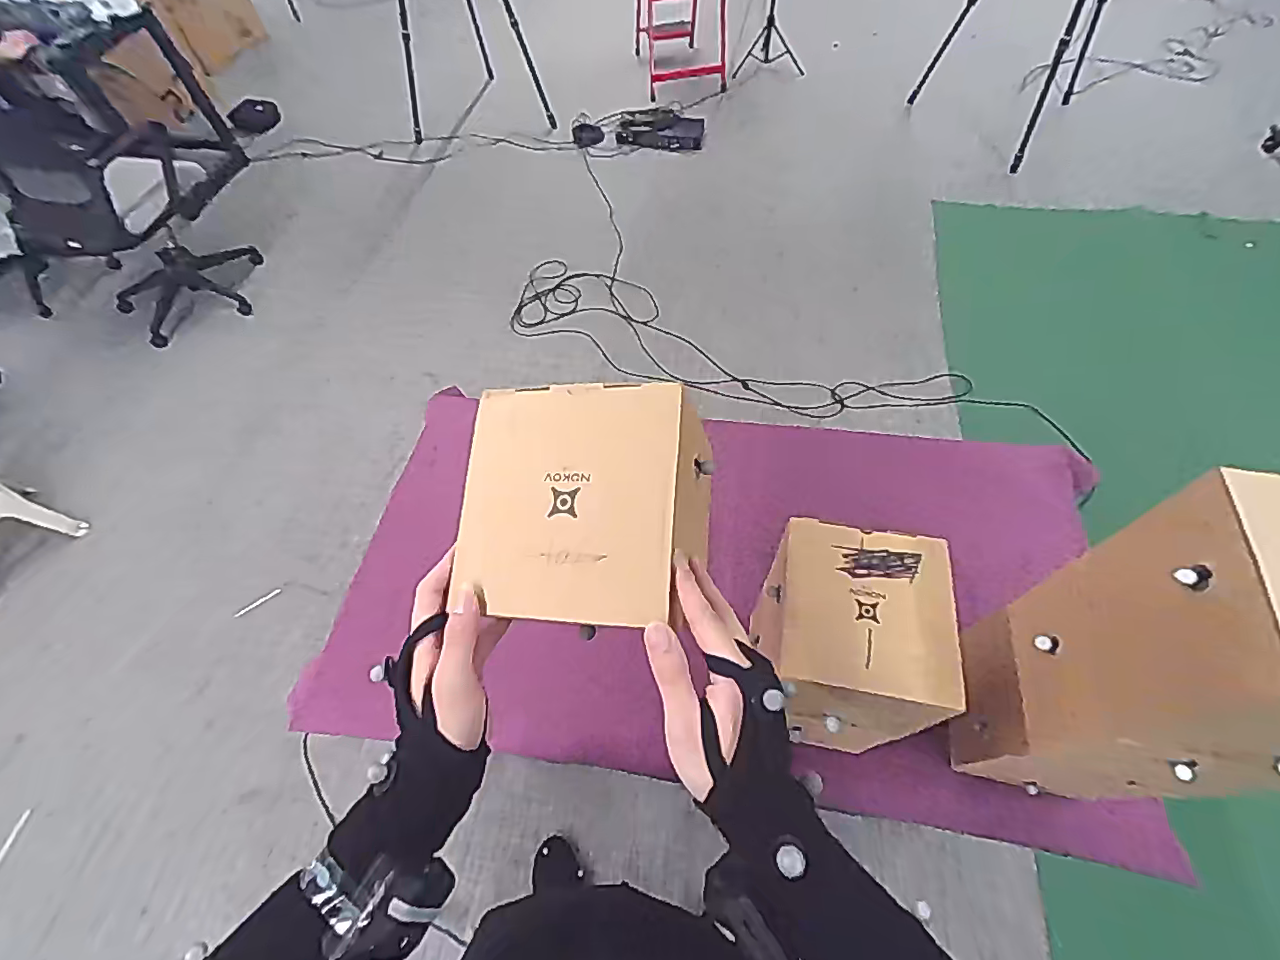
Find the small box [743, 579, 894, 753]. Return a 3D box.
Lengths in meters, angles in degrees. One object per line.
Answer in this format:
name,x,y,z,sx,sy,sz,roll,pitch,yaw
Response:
small box,0.236,0.259,0.741,0.168,0.176,0.179,8,57,9

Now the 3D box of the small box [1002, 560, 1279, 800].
small box,0.504,0.209,0.557,0.168,0.176,0.179,9,58,11

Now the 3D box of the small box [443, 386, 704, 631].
small box,-0.039,0.034,0.468,0.168,0.176,0.179,1,76,15

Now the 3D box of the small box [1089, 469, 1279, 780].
small box,0.495,0.119,0.419,0.168,0.176,0.179,10,59,11

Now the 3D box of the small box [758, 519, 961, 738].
small box,0.229,0.169,0.605,0.168,0.176,0.179,8,58,10
